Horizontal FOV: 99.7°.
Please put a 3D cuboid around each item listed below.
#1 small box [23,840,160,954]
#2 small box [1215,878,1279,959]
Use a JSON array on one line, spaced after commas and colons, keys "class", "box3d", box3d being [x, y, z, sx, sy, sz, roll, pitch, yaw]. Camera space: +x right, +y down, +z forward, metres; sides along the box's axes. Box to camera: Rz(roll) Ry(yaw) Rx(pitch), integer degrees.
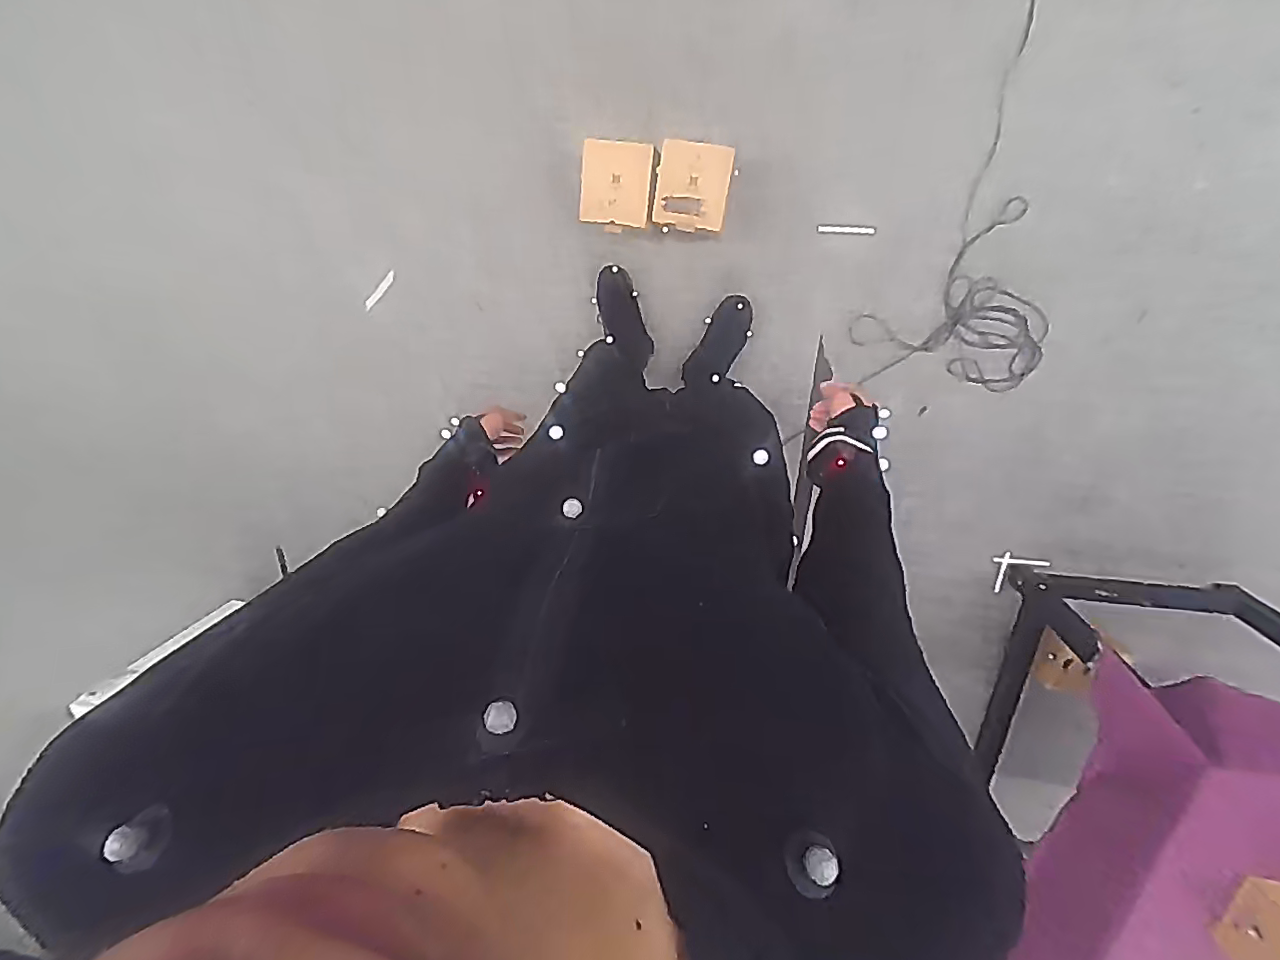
[{"class": "small box", "box3d": [-1.461, 1.112, 1.452, 0.168, 0.176, 0.179, 4, 113, 10]}, {"class": "small box", "box3d": [1.162, 0.816, 0.911, 0.179, 0.176, 0.168, 5, 111, 9]}]
